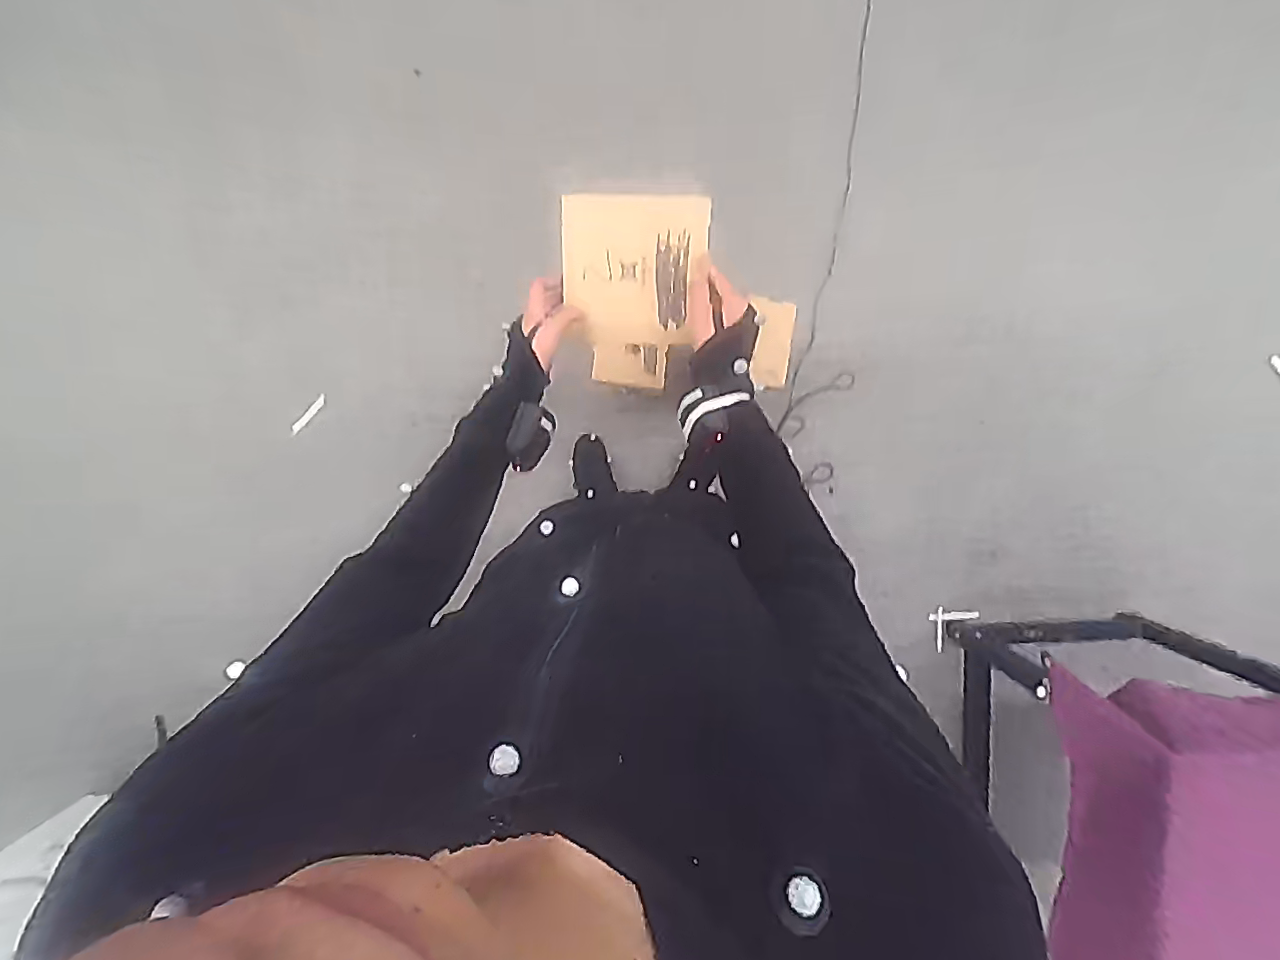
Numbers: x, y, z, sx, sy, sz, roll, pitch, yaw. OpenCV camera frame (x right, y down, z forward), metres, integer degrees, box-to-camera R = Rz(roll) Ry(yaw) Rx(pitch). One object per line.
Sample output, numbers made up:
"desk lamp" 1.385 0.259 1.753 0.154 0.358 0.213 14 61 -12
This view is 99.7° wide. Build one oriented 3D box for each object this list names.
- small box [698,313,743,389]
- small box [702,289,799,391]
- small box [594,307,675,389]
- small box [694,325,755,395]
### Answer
"small box" 0.240 -0.318 1.360 0.179 0.176 0.168 1 95 1
"small box" 0.235 -0.302 1.196 0.168 0.176 0.179 8 94 0
"small box" -0.013 -0.322 1.357 0.179 0.176 0.168 8 95 0
"small box" 0.240 -0.333 1.521 0.168 0.176 0.179 -1 95 1
